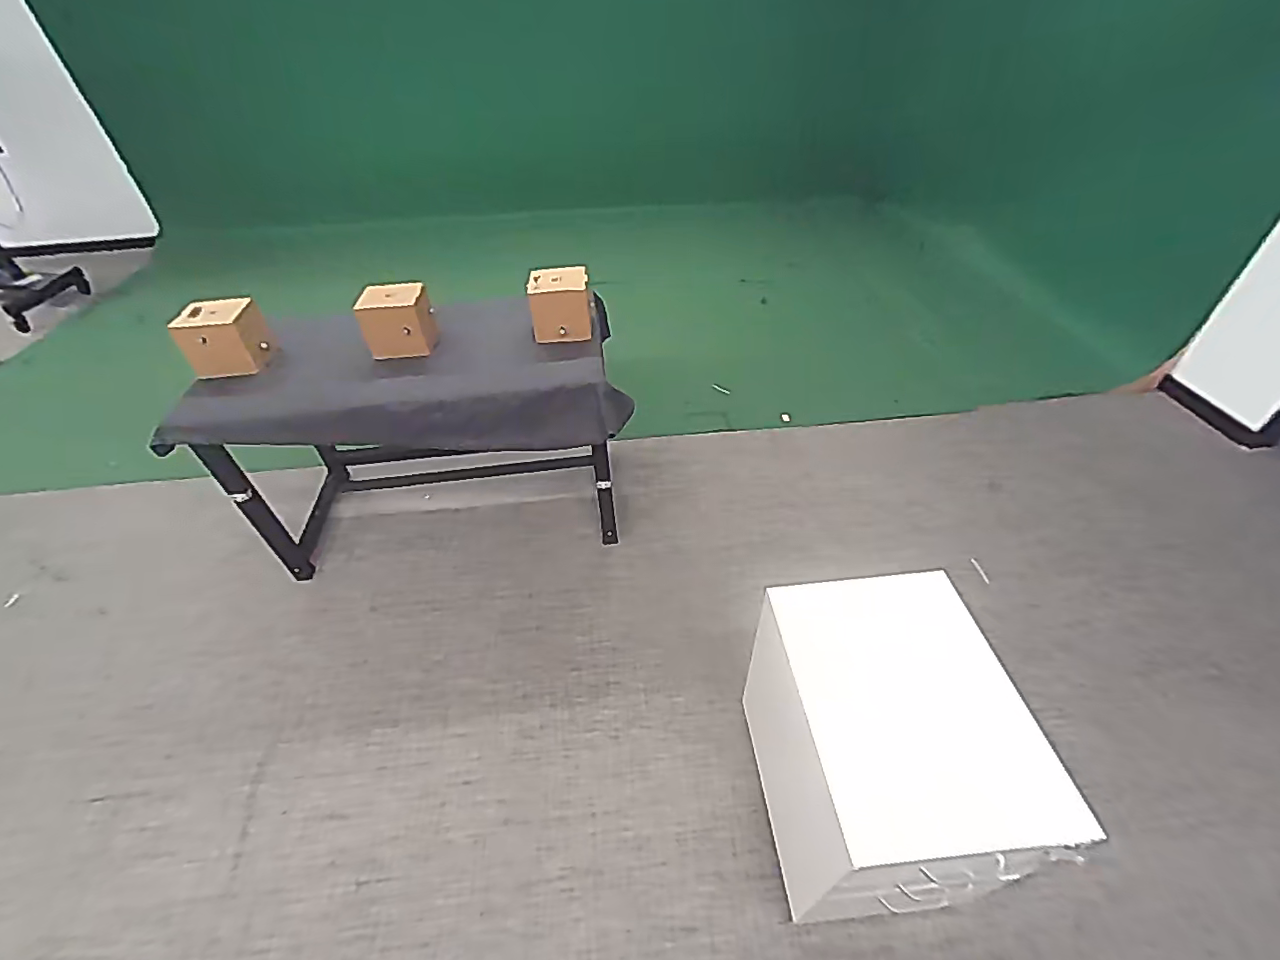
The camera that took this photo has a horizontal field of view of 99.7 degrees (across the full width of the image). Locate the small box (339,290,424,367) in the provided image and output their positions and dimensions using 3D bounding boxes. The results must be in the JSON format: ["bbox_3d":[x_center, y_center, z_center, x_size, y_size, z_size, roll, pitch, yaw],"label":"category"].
[{"bbox_3d":[-0.774,-0.458,1.642,0.179,0.176,0.168,-6,41,-5],"label":"small box"}]

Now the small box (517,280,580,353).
[{"bbox_3d":[-0.280,-0.513,1.696,0.179,0.176,0.168,-3,42,-4],"label":"small box"}]

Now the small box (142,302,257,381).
[{"bbox_3d":[-1.269,-0.399,1.571,0.179,0.176,0.168,-6,42,-8],"label":"small box"}]
